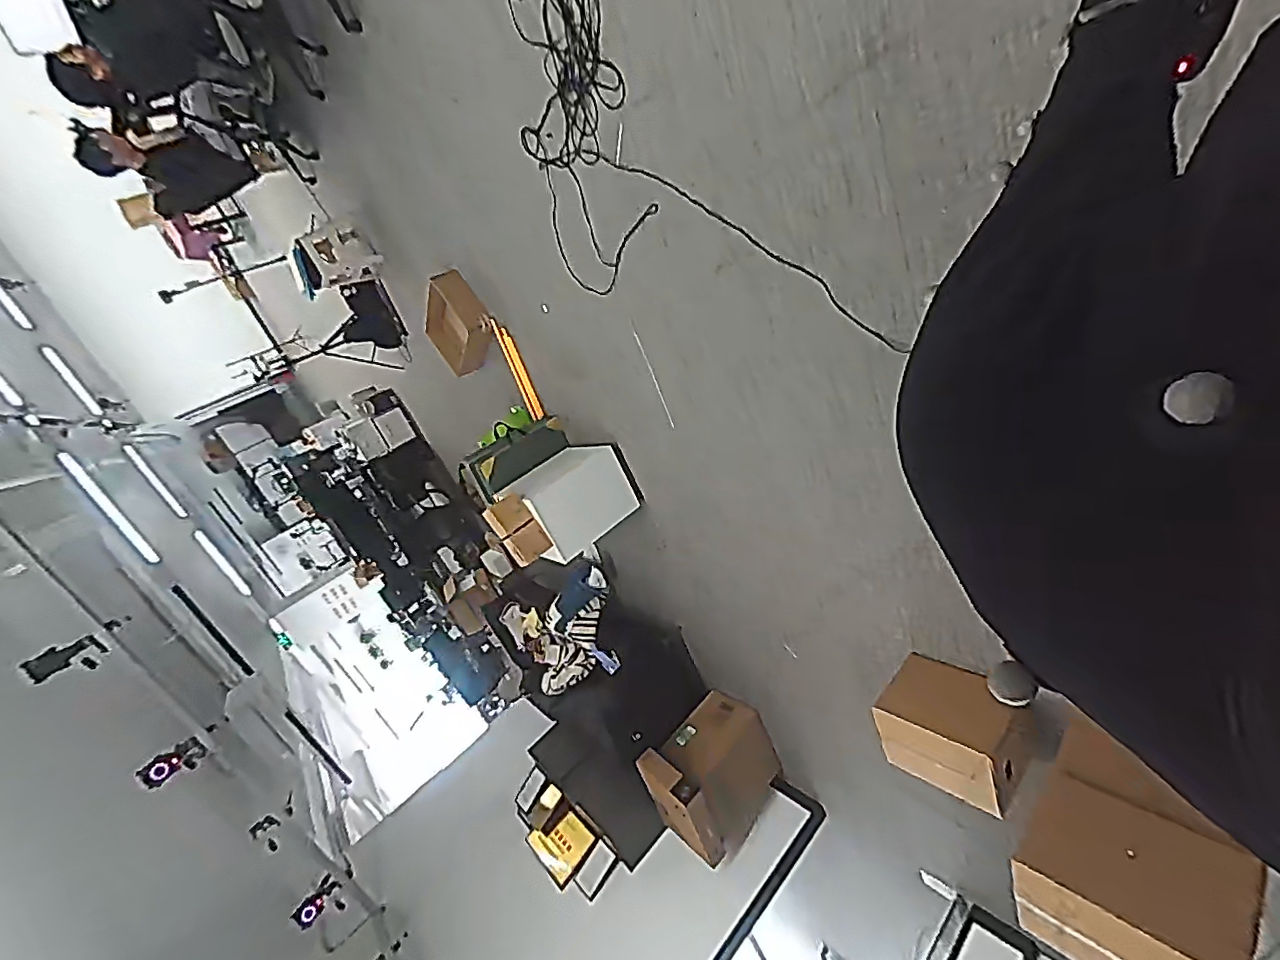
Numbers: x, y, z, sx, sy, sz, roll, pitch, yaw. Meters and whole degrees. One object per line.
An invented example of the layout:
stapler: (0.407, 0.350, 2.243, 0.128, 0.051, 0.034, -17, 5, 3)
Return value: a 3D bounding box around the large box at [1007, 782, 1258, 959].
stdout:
large box: (1.200, 1.056, 1.339, 0.408, 0.320, 0.320, 9, 125, 51)
